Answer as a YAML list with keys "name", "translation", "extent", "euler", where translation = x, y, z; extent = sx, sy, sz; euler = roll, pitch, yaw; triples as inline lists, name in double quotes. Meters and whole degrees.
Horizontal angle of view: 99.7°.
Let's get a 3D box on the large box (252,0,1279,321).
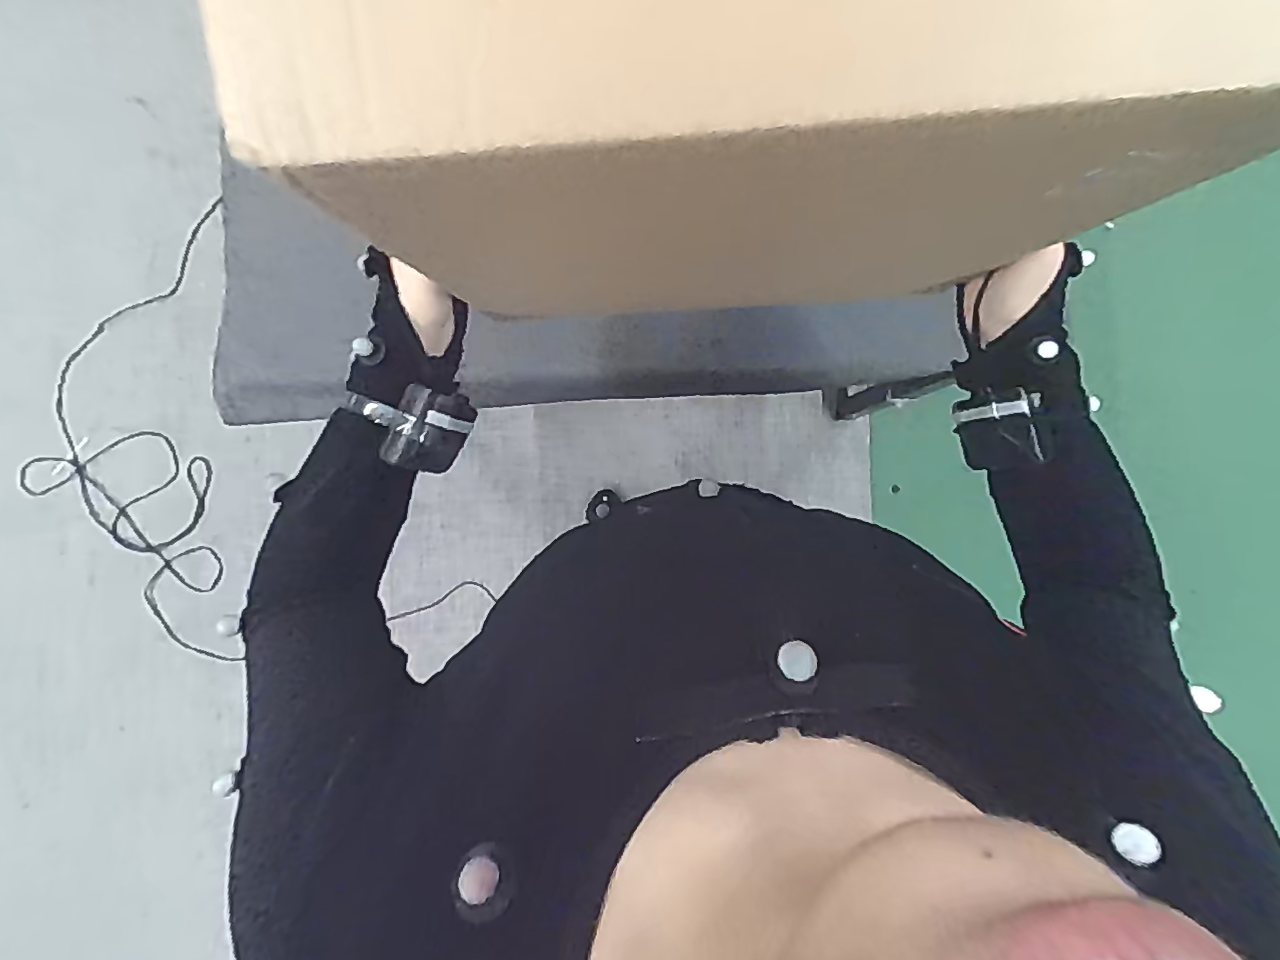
- name: "large box"
  translation: [0.053, -0.295, 0.324]
  extent: [0.408, 0.320, 0.320]
  euler: [-5, 97, 0]
